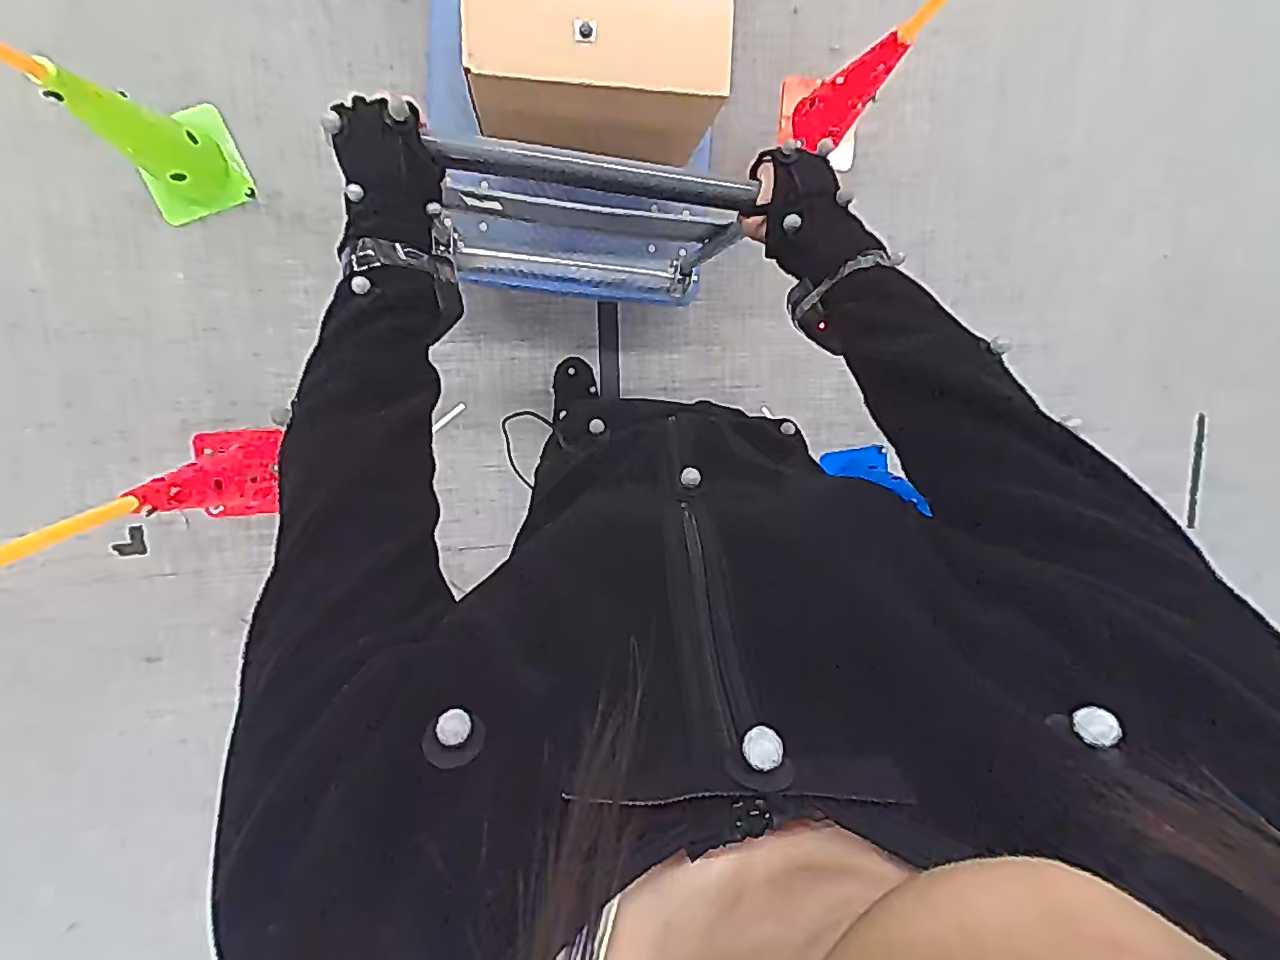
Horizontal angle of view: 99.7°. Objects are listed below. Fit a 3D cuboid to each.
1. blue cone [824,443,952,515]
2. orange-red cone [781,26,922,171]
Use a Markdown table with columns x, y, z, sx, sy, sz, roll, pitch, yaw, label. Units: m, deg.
| x | y | z | sx | sy | sz | roll | pitch | yaw | label |
| --- | --- | --- | --- | --- | --- | --- | --- | --- | --- |
| 0.635 | 0.021 | 1.357 | 0.193 | 0.380 | 0.192 | -7 | 99 | -8 | blue cone |
| 0.484 | -0.860 | 1.181 | 0.199 | 0.360 | 0.198 | 3 | 99 | -11 | orange-red cone |
